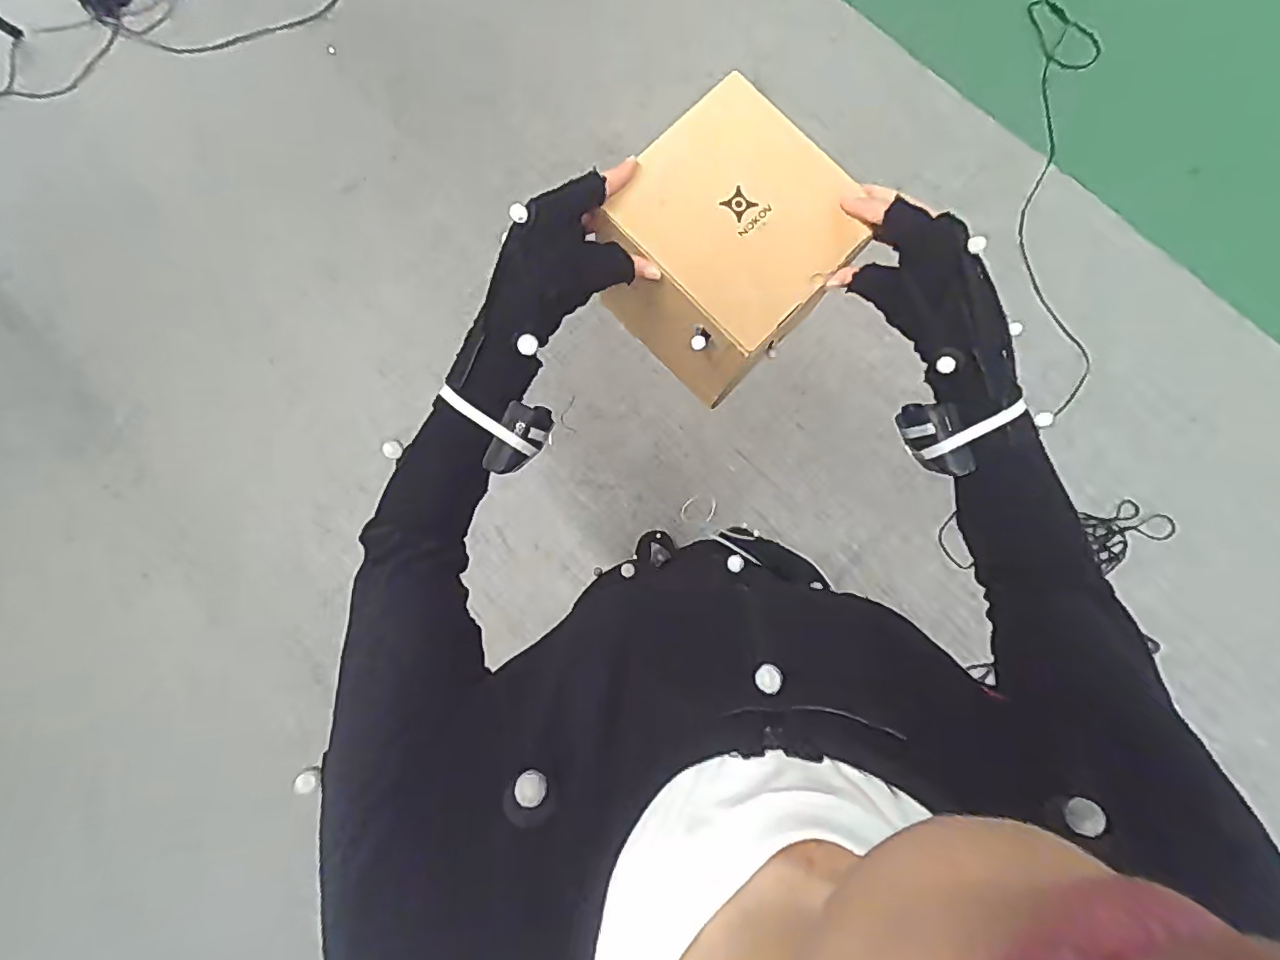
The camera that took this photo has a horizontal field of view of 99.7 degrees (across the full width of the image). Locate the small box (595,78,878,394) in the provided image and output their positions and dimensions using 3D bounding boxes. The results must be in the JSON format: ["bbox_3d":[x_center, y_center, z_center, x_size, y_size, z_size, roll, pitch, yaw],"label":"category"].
[{"bbox_3d":[0.073,-0.209,0.512,0.168,0.176,0.179,-44,89,-8],"label":"small box"}]
